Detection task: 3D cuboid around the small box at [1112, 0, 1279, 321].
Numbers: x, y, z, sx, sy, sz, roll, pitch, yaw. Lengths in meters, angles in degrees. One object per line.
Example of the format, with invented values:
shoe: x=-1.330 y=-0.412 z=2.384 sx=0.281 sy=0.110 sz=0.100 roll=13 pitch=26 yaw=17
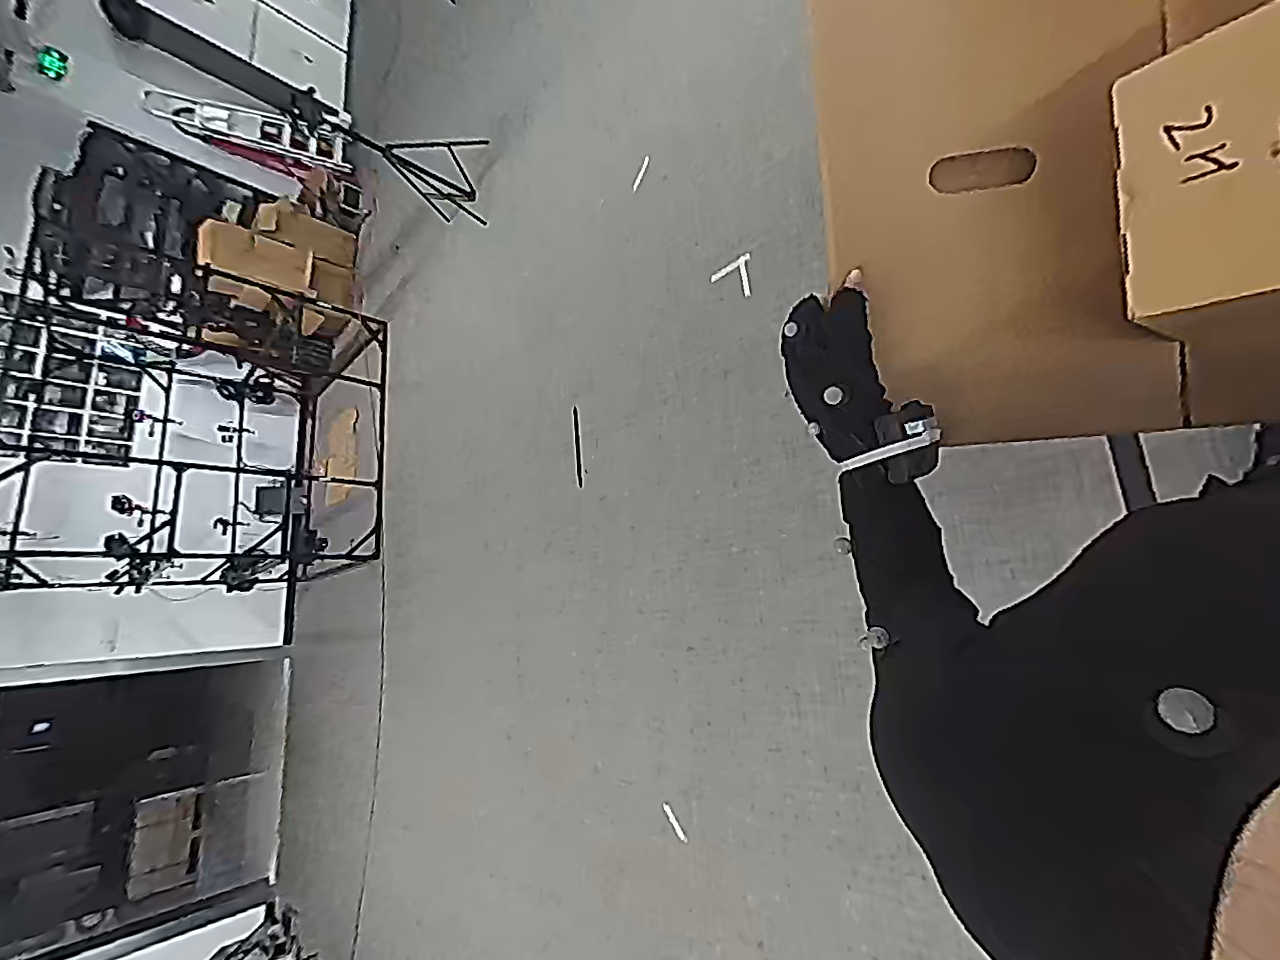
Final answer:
small box: x=0.449 y=-0.213 z=0.354 sx=0.179 sy=0.176 sz=0.168 roll=-3 pitch=91 yaw=55
